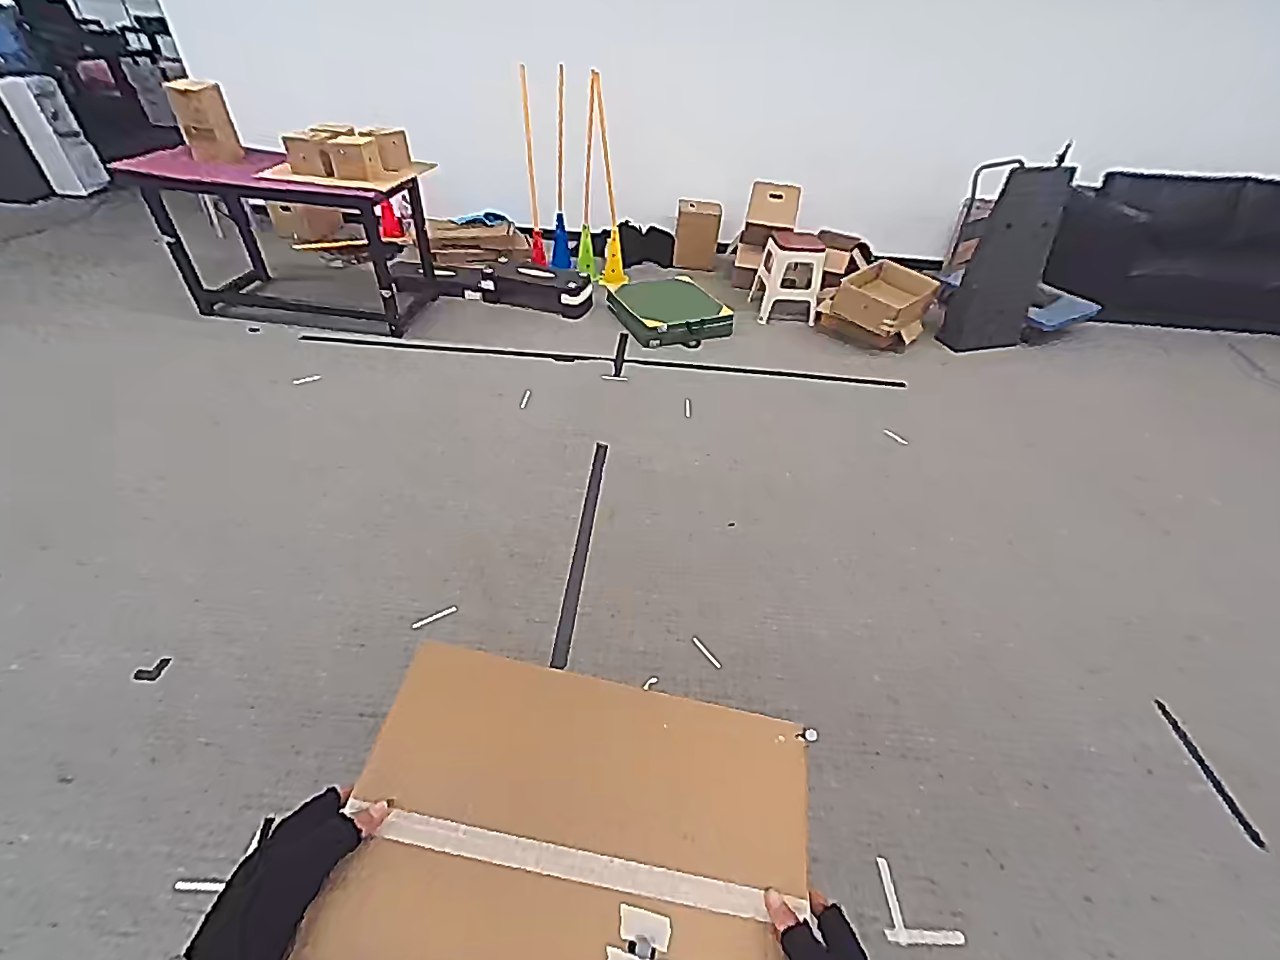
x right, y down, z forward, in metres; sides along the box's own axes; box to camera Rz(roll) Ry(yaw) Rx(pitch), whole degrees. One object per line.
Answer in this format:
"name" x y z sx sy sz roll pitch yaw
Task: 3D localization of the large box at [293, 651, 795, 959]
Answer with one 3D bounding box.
"large box" -0.078 0.426 0.592 0.408 0.320 0.320 12 51 1
